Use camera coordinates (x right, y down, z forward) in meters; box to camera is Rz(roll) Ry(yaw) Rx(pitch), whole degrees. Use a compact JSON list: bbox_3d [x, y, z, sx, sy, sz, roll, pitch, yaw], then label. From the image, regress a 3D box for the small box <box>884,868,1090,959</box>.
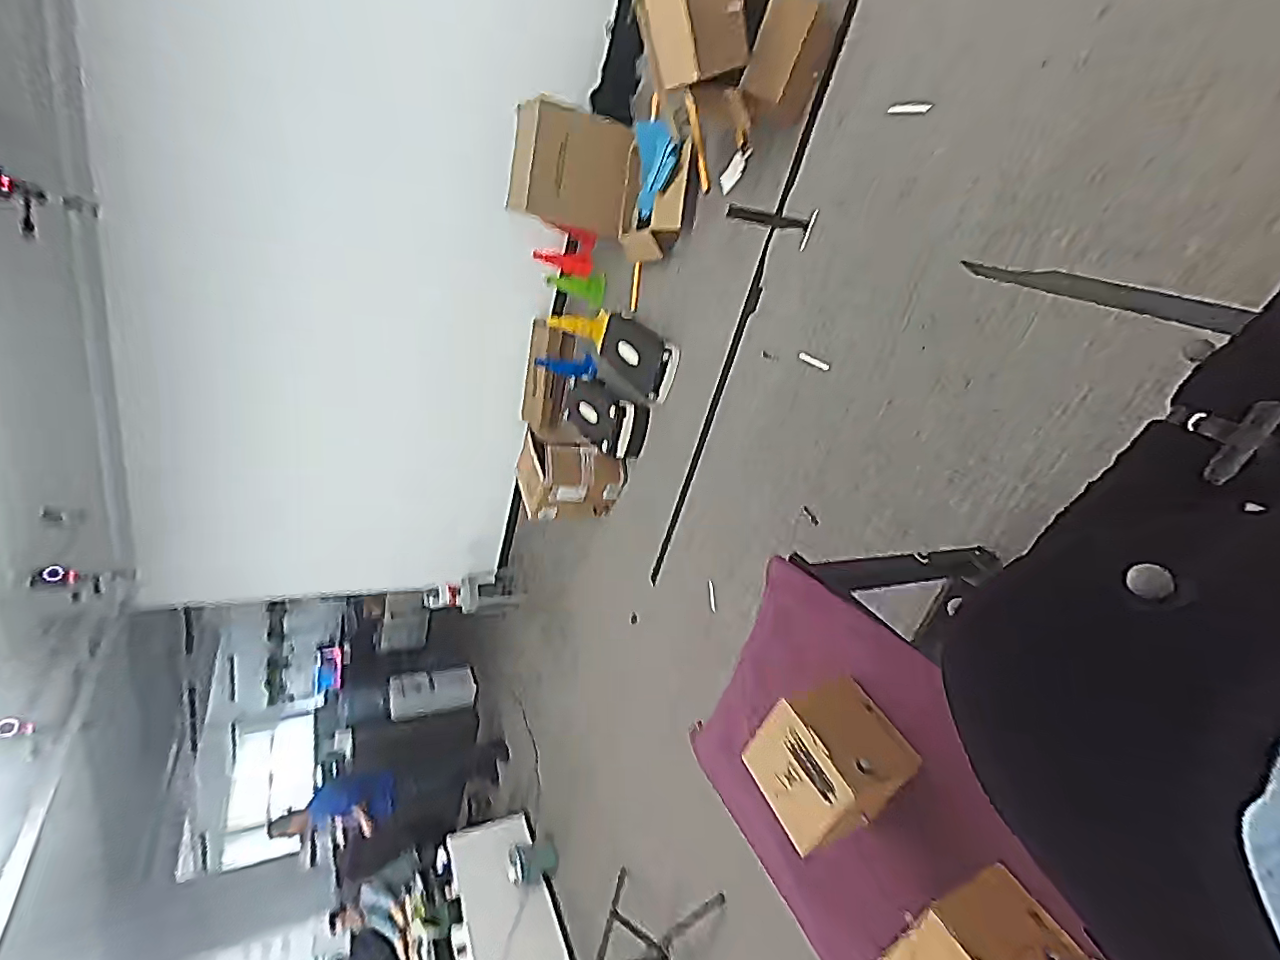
[{"bbox_3d":[0.436,0.634,0.670,0.168,0.176,0.179,48,128,48],"label":"small box"}]
